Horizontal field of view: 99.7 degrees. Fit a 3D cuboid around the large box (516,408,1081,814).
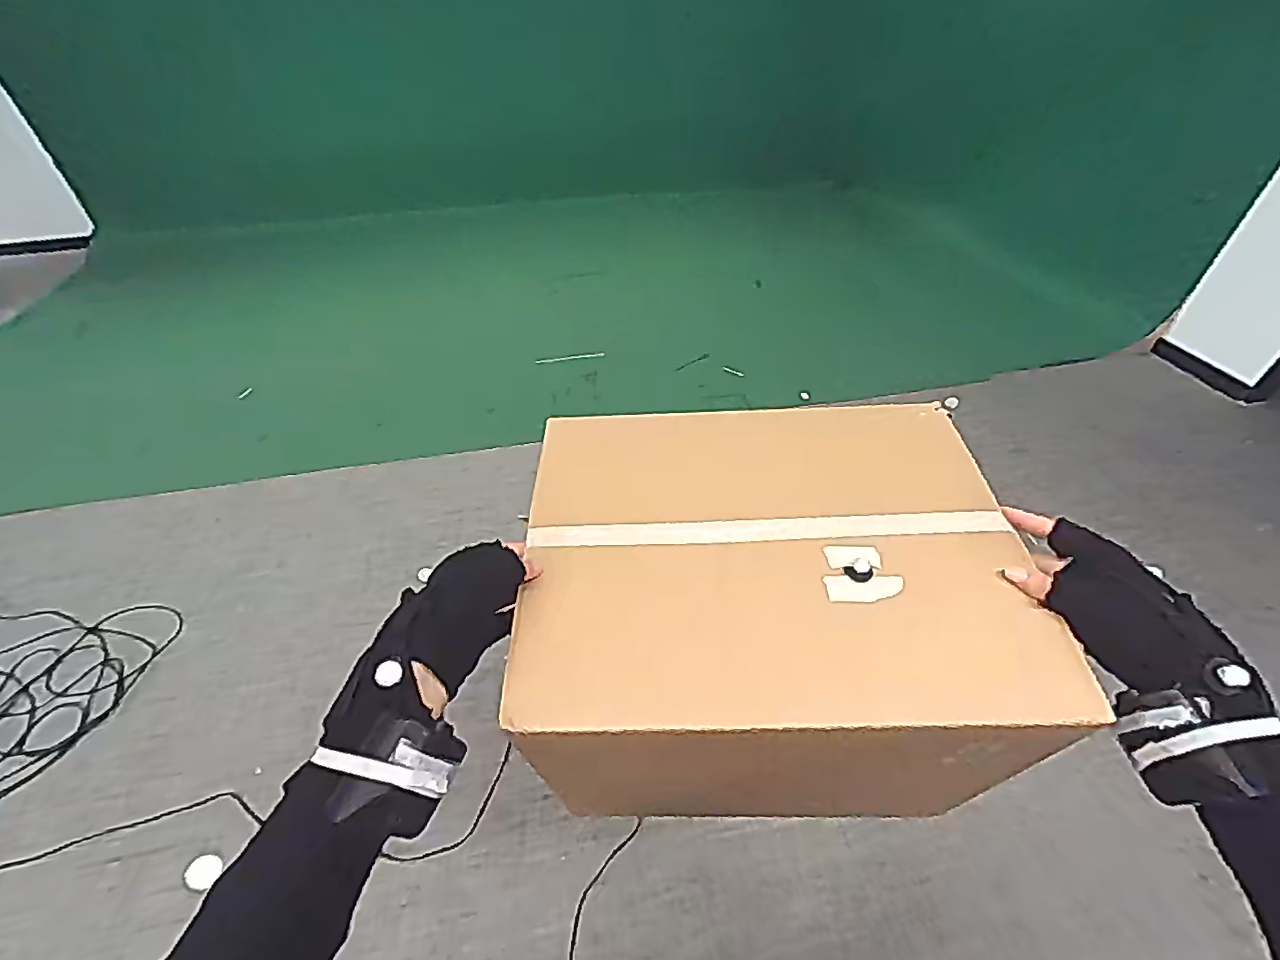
[{"bbox_3d":[0.113,0.149,0.585,0.408,0.320,0.320,-3,49,3],"label":"large box"}]
